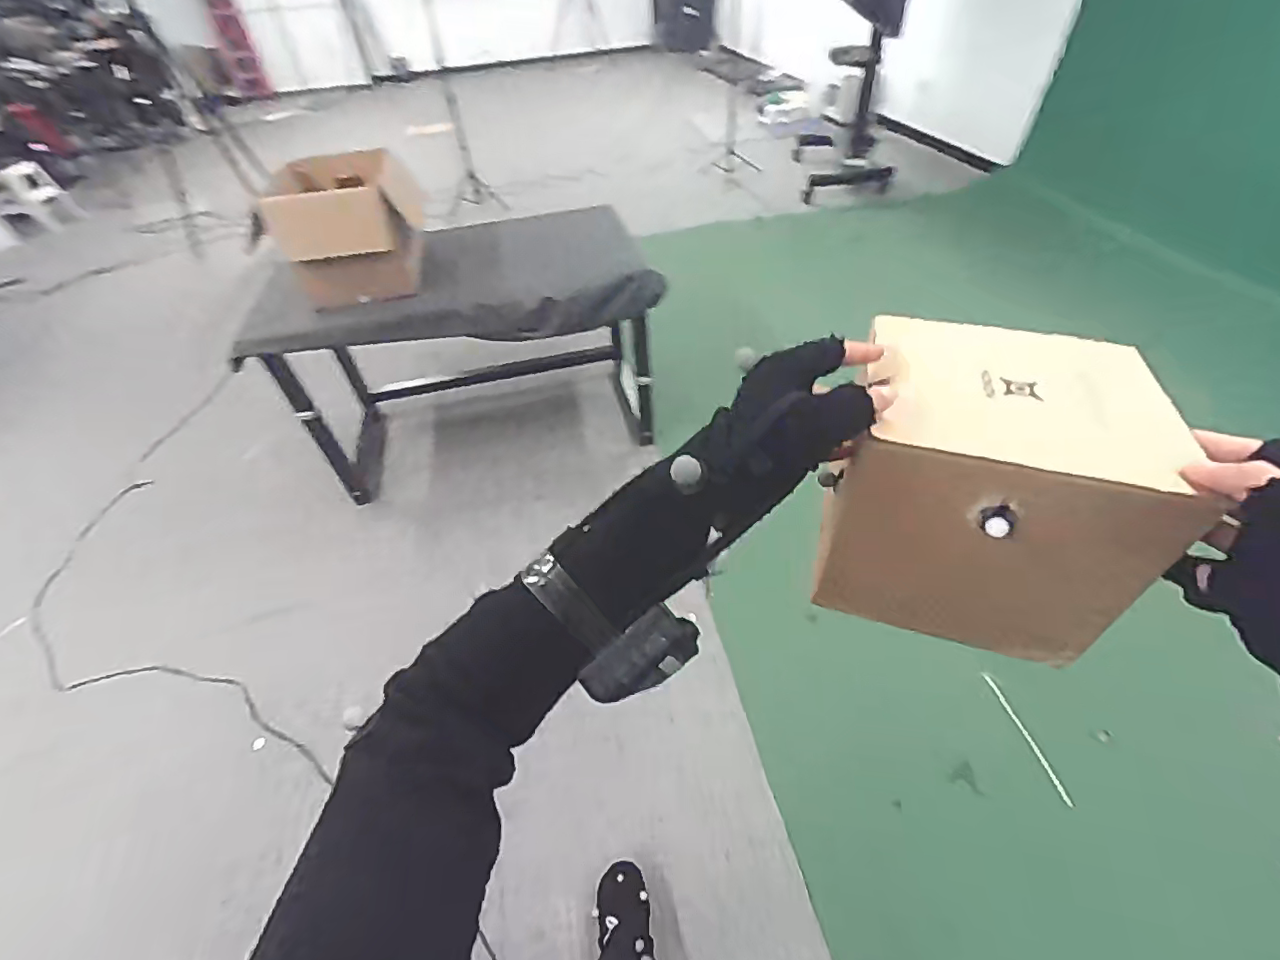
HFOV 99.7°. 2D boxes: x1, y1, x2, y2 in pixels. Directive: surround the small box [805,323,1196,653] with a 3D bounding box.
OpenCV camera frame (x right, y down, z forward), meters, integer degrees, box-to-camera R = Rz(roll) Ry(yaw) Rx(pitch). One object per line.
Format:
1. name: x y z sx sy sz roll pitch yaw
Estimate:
1. small box: 0.232 0.004 0.408 0.179 0.176 0.168 13 44 13
